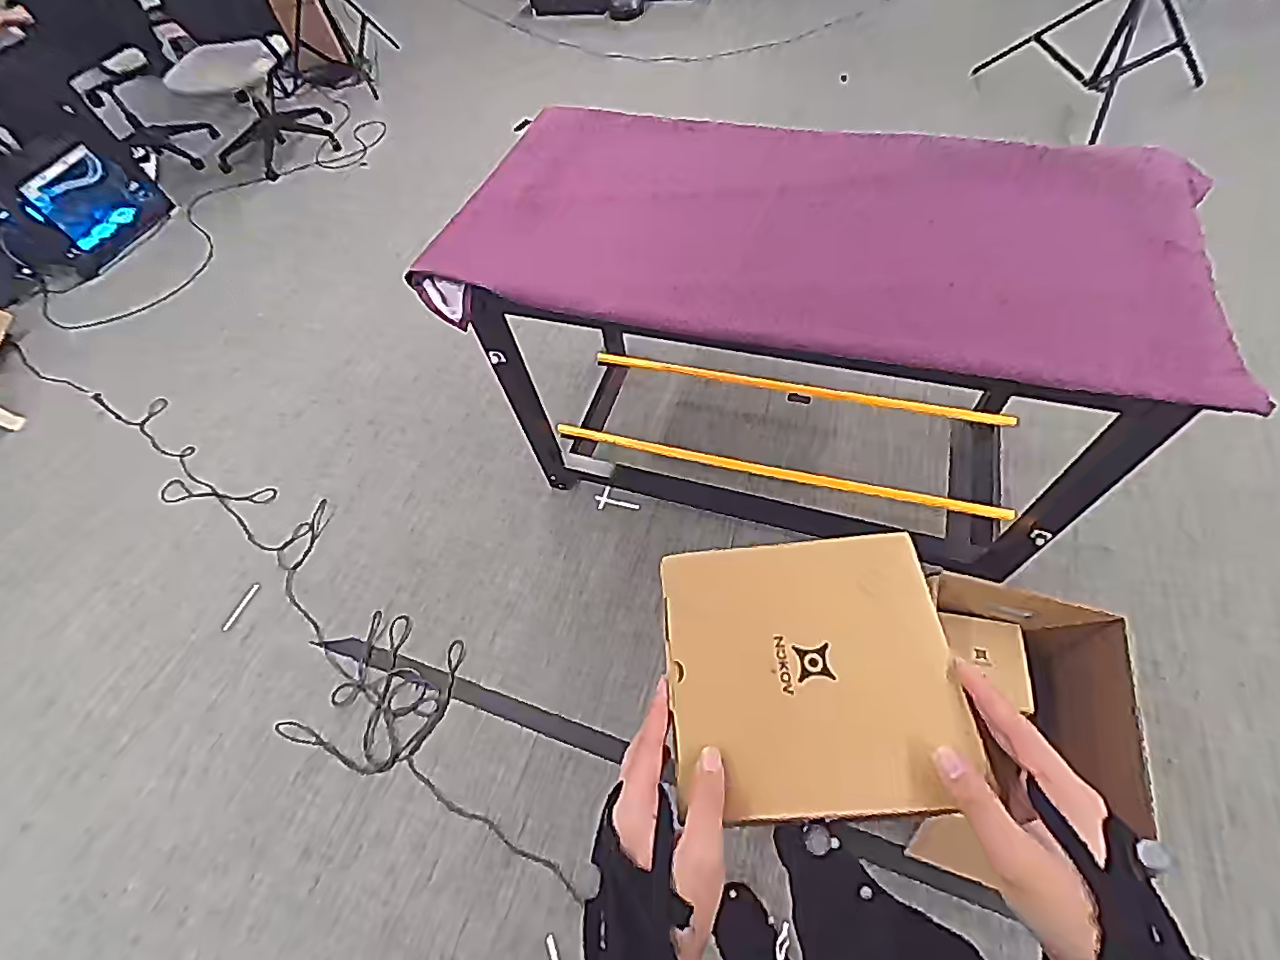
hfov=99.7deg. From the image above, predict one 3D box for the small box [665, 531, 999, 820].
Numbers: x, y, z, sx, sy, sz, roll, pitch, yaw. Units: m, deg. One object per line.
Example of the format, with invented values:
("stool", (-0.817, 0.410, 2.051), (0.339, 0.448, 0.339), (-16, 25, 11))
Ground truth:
("small box", (0.117, 0.155, 0.407), (0.179, 0.176, 0.168), (-7, 57, 6))
